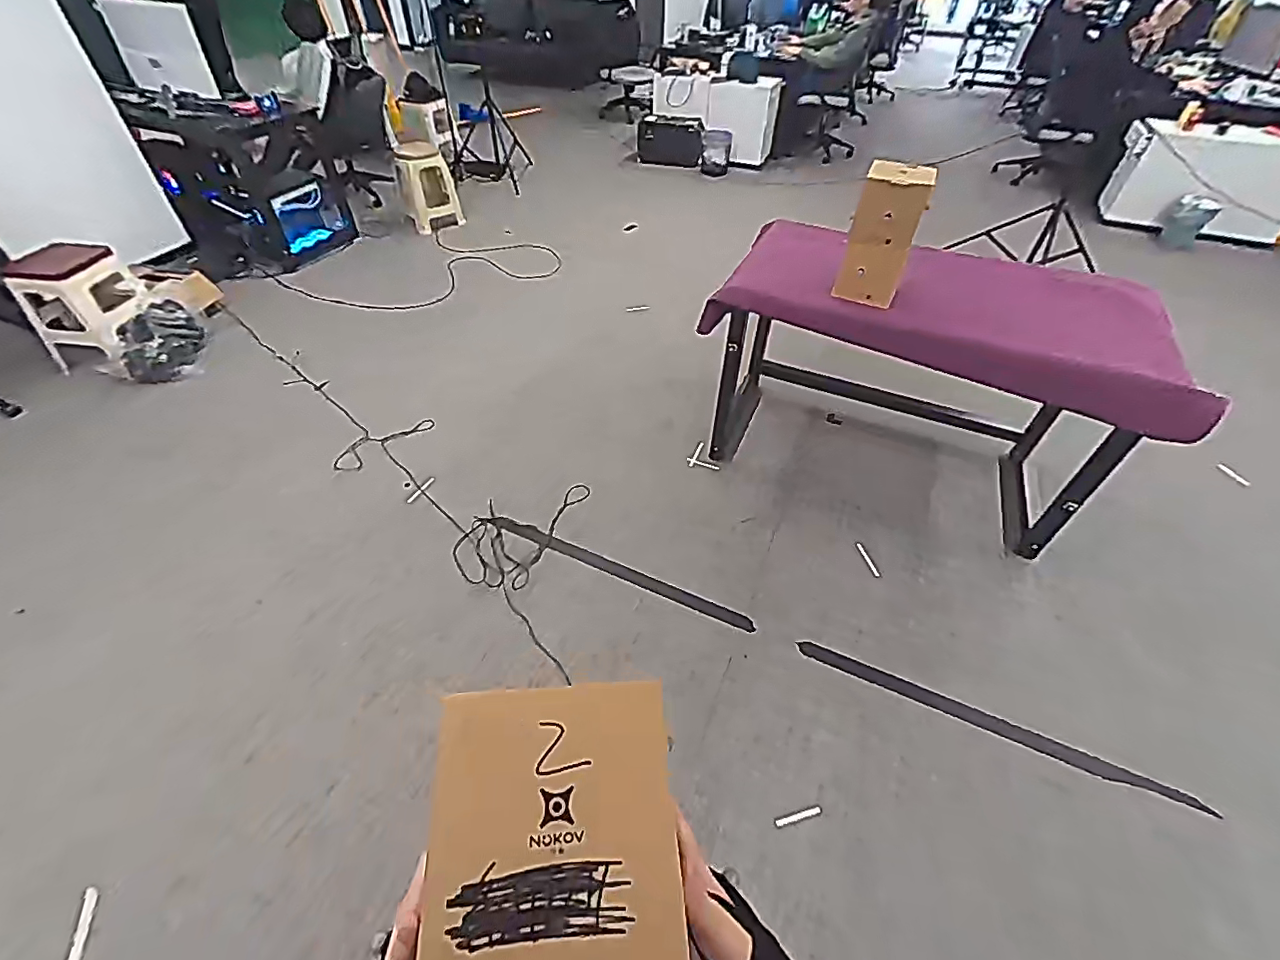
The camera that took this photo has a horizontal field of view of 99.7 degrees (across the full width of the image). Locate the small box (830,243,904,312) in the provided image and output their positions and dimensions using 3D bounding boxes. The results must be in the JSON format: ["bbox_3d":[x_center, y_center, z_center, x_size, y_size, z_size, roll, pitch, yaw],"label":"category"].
[{"bbox_3d":[0.678,-0.623,1.608,0.168,0.176,0.179,20,47,17],"label":"small box"}]

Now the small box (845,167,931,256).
[{"bbox_3d":[0.682,-0.742,1.495,0.168,0.176,0.179,19,48,15],"label":"small box"}]
